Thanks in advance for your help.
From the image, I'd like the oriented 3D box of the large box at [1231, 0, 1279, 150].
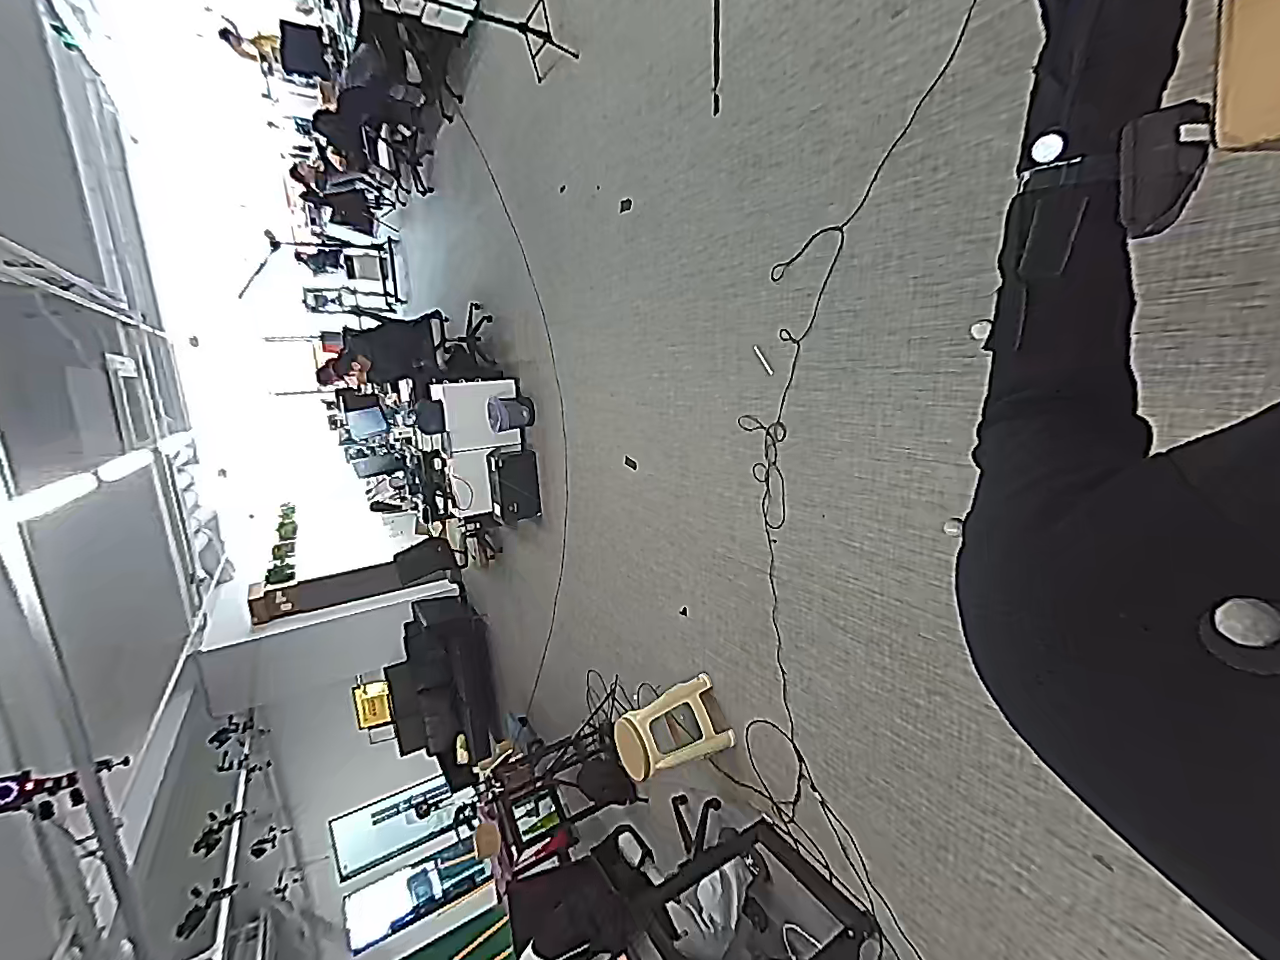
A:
[{"bbox_3d":[0.525,-0.355,0.178,0.408,0.320,0.320,10,117,56],"label":"large box"}]
